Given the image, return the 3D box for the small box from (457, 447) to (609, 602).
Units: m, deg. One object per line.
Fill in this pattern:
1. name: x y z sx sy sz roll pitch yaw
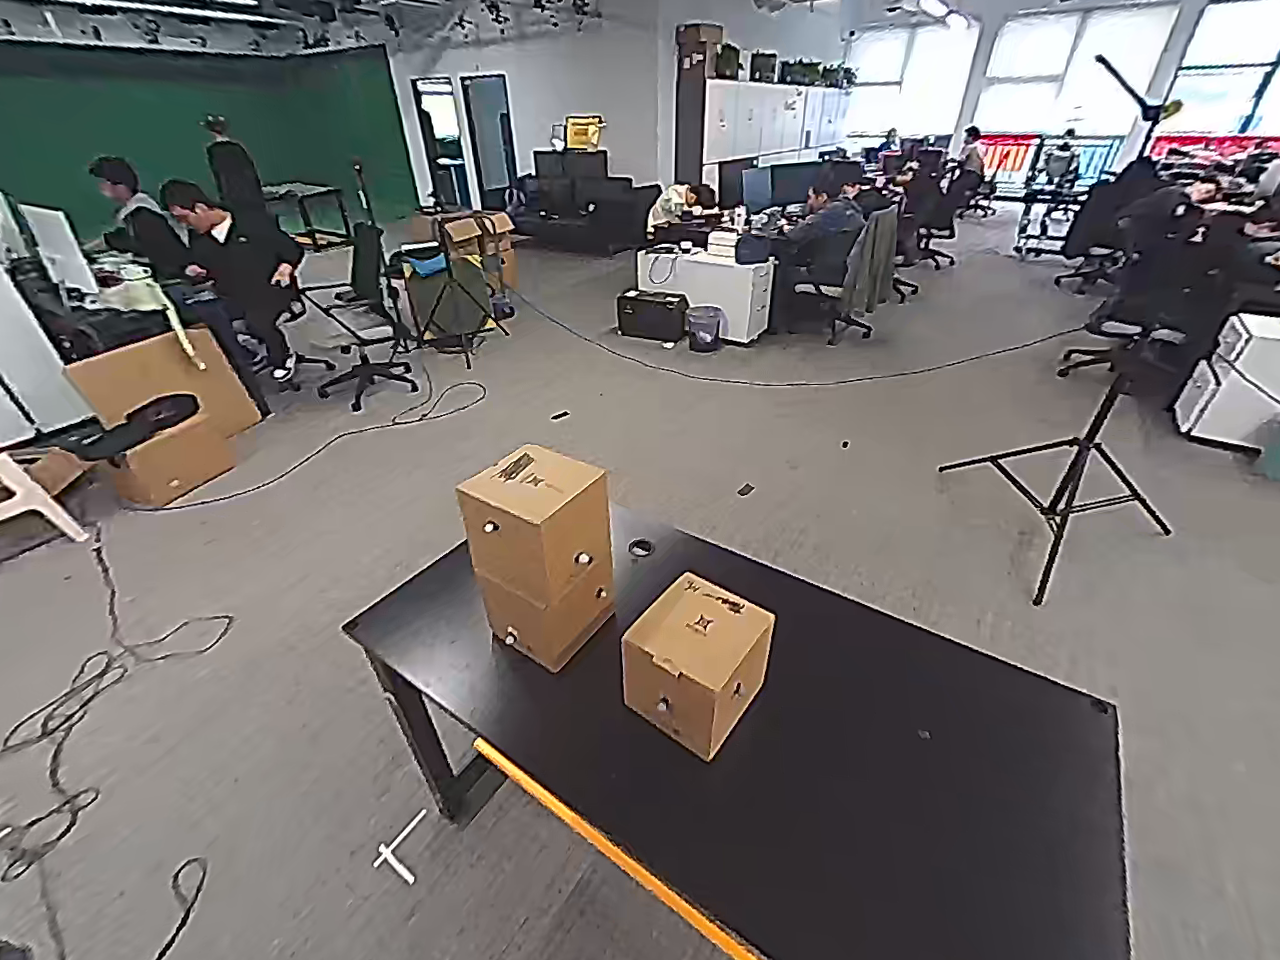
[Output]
1. small box: -0.168 0.071 0.893 0.179 0.176 0.168 19 39 27

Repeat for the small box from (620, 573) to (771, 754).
1. small box: 0.089 0.288 0.856 0.168 0.176 0.179 23 41 30

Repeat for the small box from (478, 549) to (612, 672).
1. small box: -0.164 0.207 0.986 0.168 0.176 0.179 19 40 29
